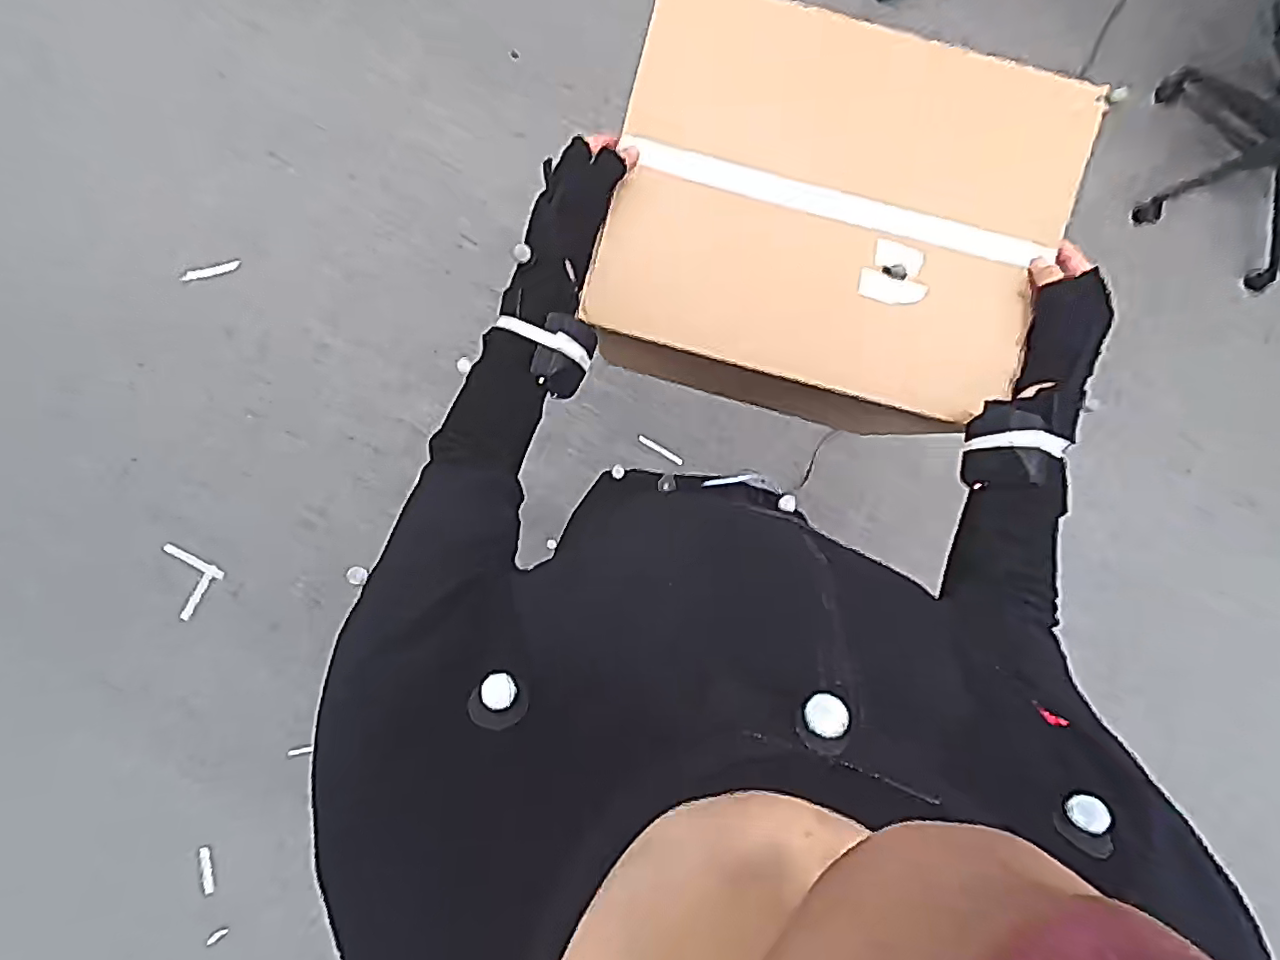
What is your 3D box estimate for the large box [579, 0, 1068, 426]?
[{"bbox_3d":[0.165,-0.261,0.650,0.408,0.320,0.320,14,95,-2],"label":"large box"}]
